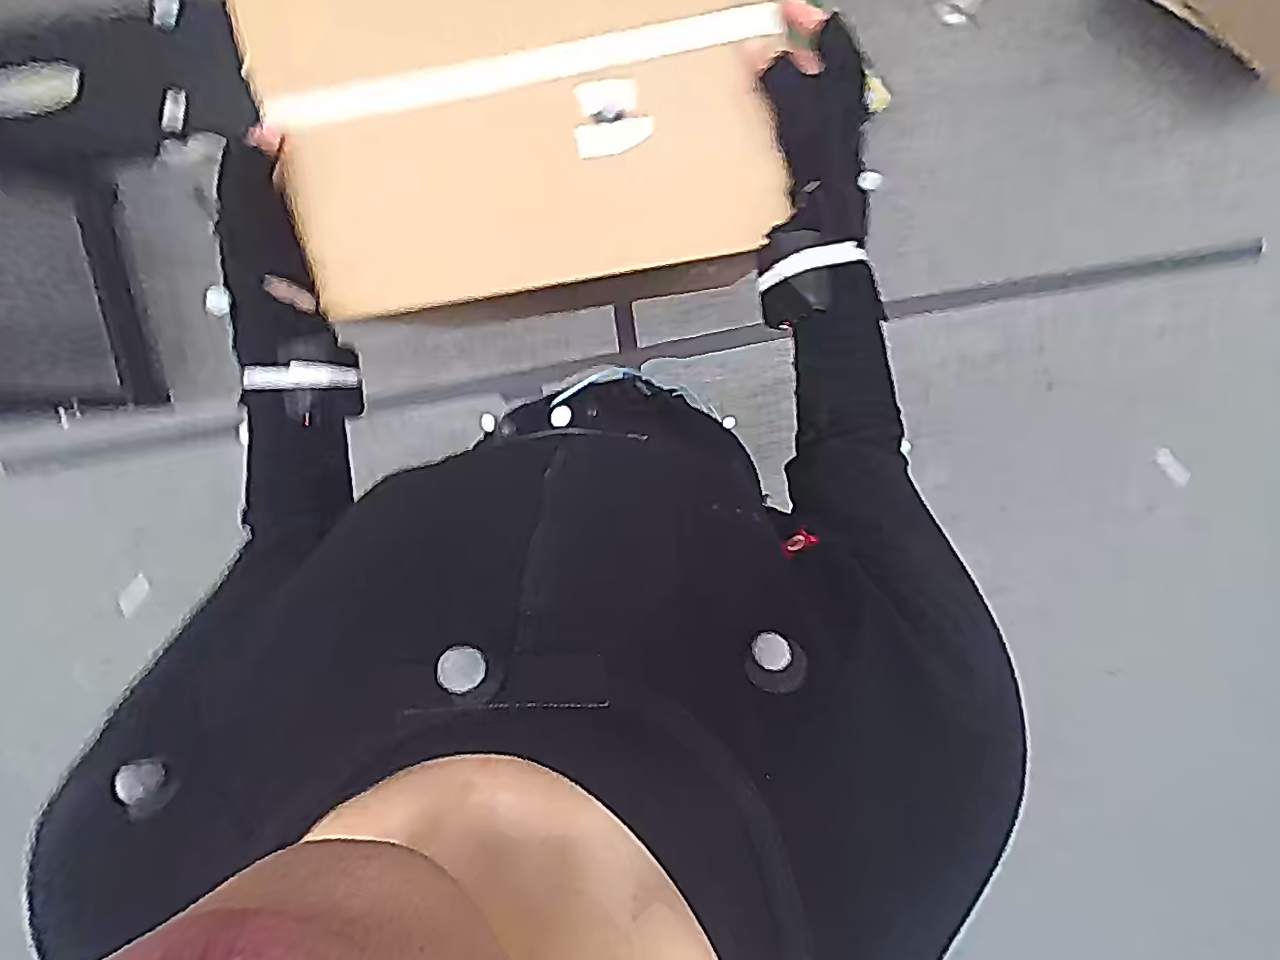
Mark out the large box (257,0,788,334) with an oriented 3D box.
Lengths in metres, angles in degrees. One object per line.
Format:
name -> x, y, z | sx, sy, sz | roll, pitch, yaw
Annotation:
large box -> -0.092, -0.352, 0.583 | 0.408, 0.320, 0.320 | -9, 104, 3
